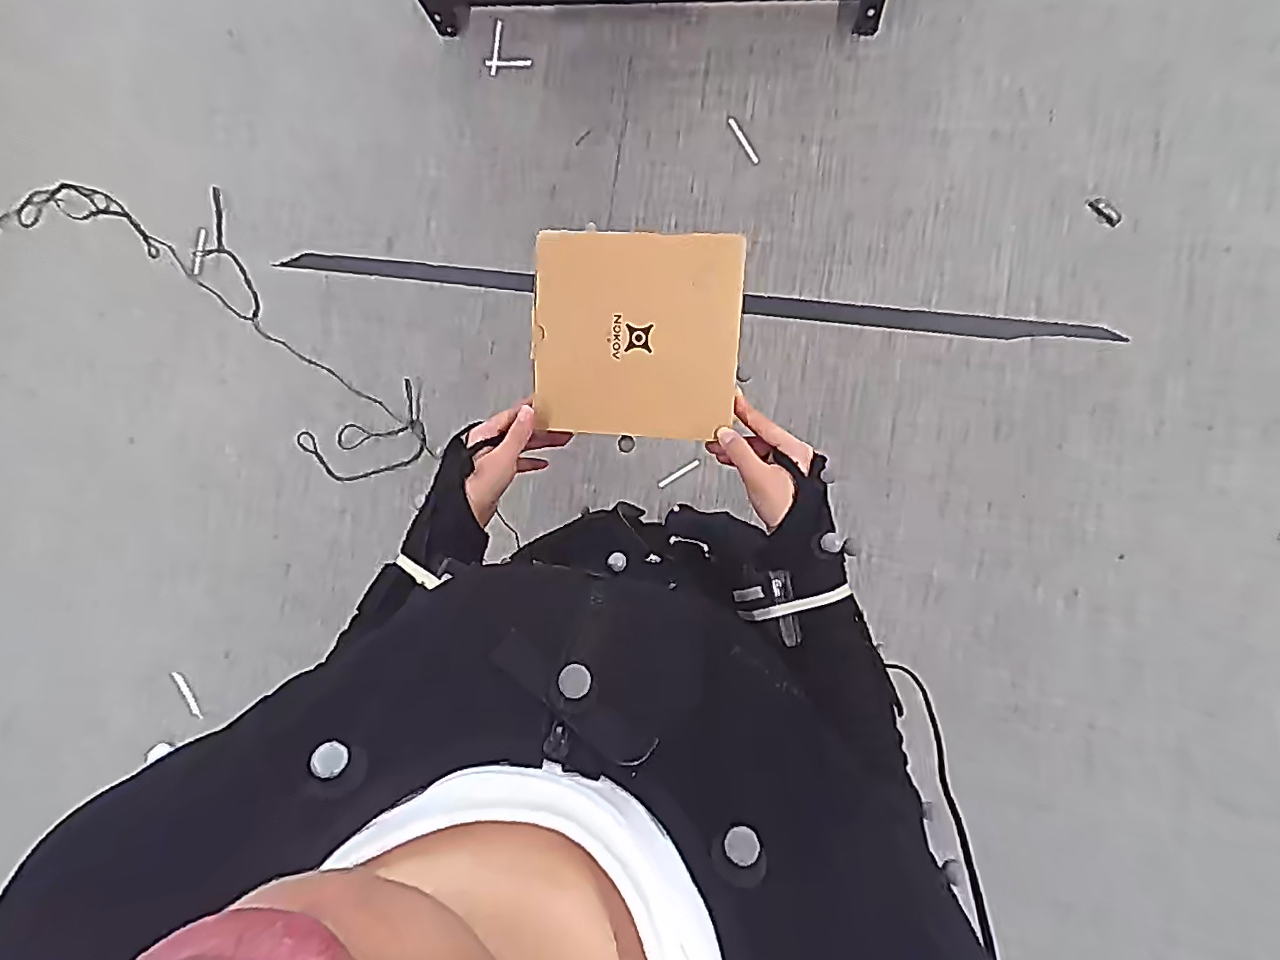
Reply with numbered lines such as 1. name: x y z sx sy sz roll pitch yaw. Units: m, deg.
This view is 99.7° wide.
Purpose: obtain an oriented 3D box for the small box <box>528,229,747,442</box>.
1. small box: 0.005 -0.130 0.521 0.179 0.176 0.168 5 98 9
